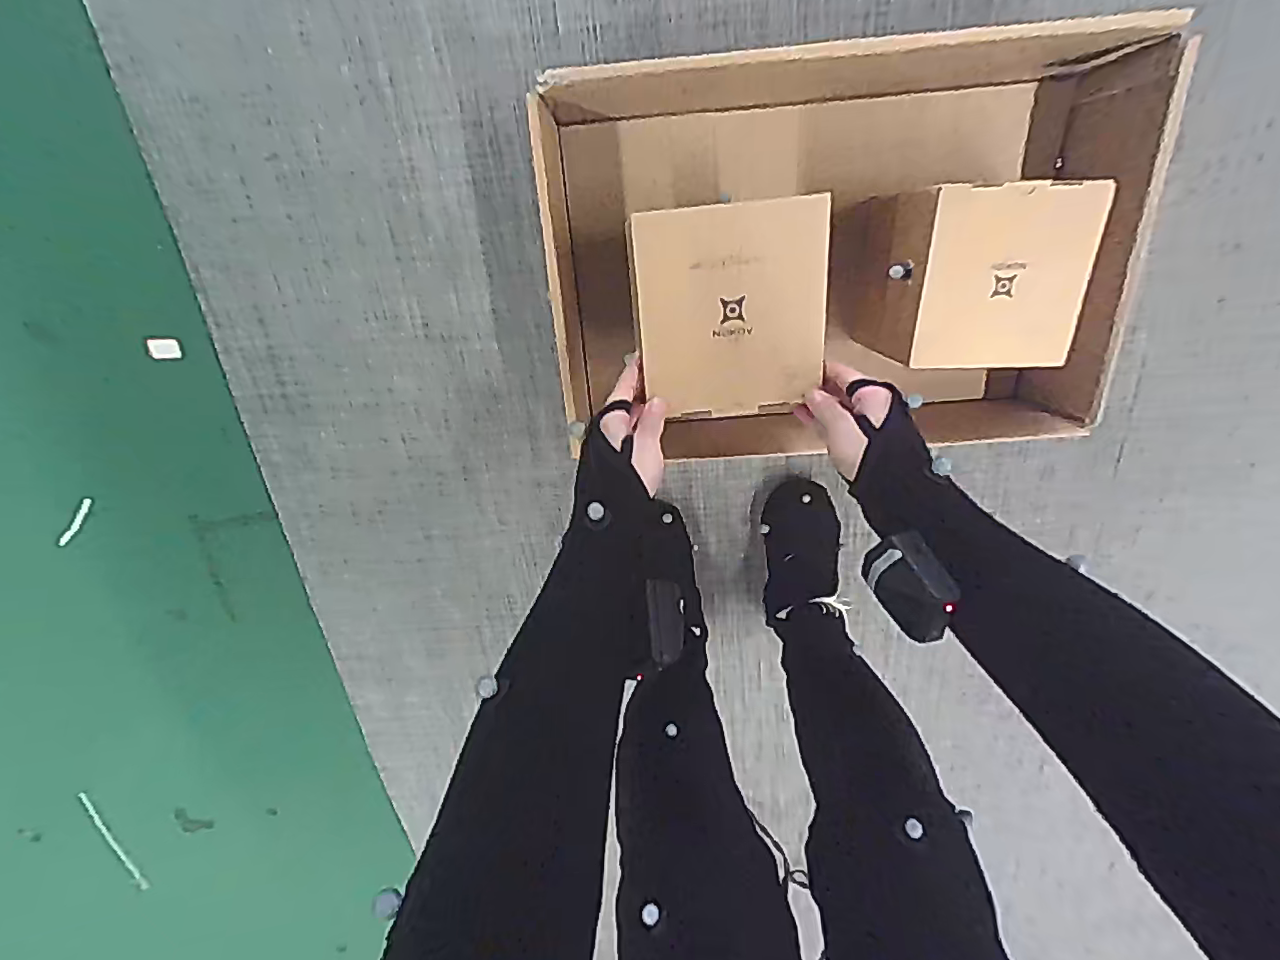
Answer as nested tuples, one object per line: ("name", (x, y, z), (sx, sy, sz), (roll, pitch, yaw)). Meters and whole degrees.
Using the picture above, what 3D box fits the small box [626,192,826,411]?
("small box", (0.075, -0.182, 0.548), (0.168, 0.176, 0.179), (-6, 112, 0))

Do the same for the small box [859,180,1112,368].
("small box", (0.364, -0.231, 0.613), (0.168, 0.176, 0.179), (-1, 112, 2))
